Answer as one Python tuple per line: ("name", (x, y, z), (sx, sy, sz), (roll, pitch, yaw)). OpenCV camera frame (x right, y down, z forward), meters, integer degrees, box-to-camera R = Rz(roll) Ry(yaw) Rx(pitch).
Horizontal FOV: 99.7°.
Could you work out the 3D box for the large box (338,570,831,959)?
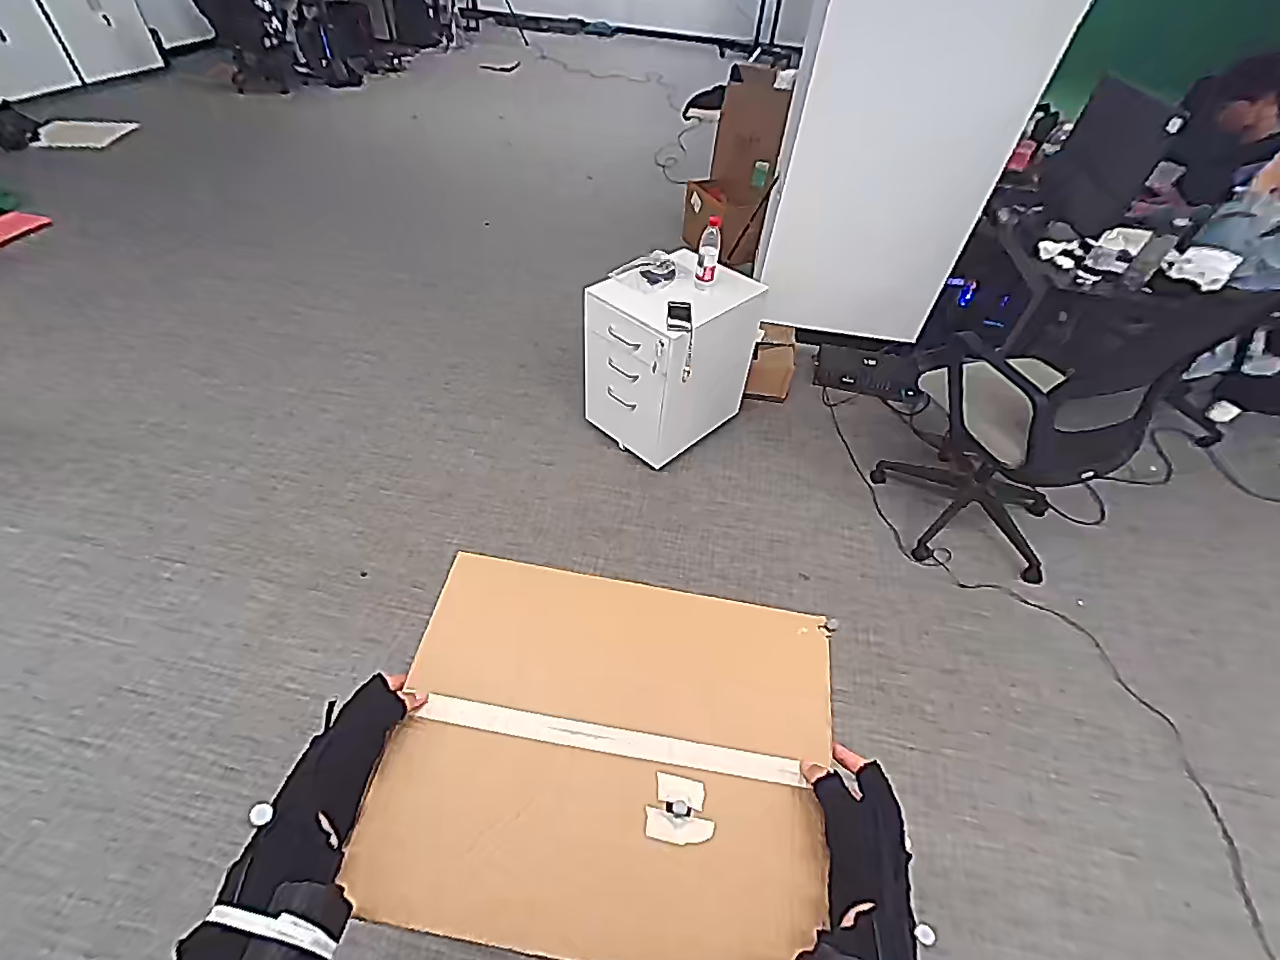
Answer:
("large box", (-0.038, 0.335, 0.629), (0.408, 0.320, 0.320), (10, 56, 1))
